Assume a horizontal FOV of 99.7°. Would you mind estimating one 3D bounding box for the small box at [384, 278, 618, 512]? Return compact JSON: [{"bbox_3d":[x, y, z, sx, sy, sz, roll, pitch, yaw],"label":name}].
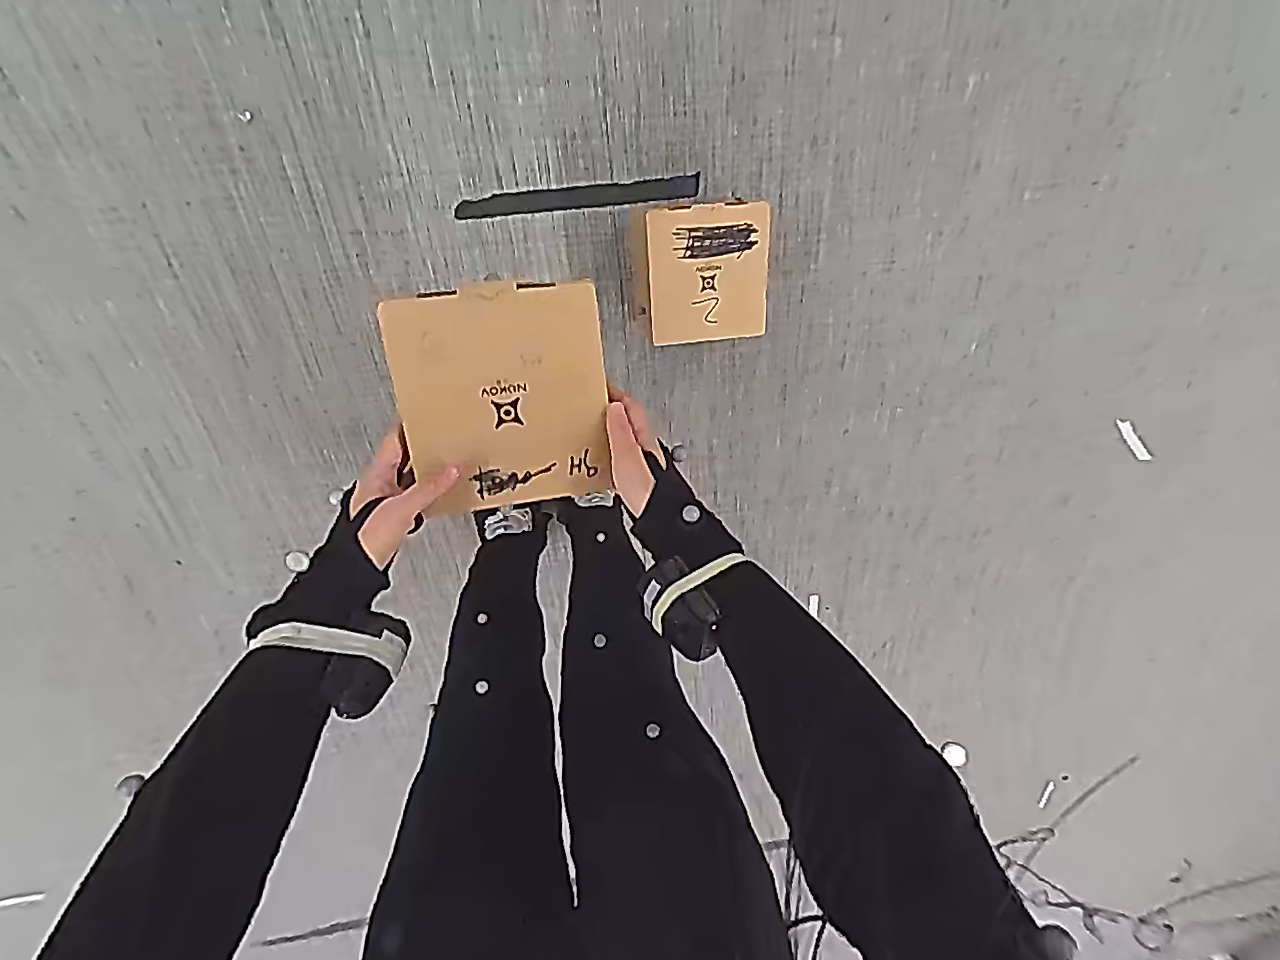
[{"bbox_3d":[-0.121,-0.085,0.514,0.168,0.176,0.179,-8,106,-8],"label":"small box"}]
